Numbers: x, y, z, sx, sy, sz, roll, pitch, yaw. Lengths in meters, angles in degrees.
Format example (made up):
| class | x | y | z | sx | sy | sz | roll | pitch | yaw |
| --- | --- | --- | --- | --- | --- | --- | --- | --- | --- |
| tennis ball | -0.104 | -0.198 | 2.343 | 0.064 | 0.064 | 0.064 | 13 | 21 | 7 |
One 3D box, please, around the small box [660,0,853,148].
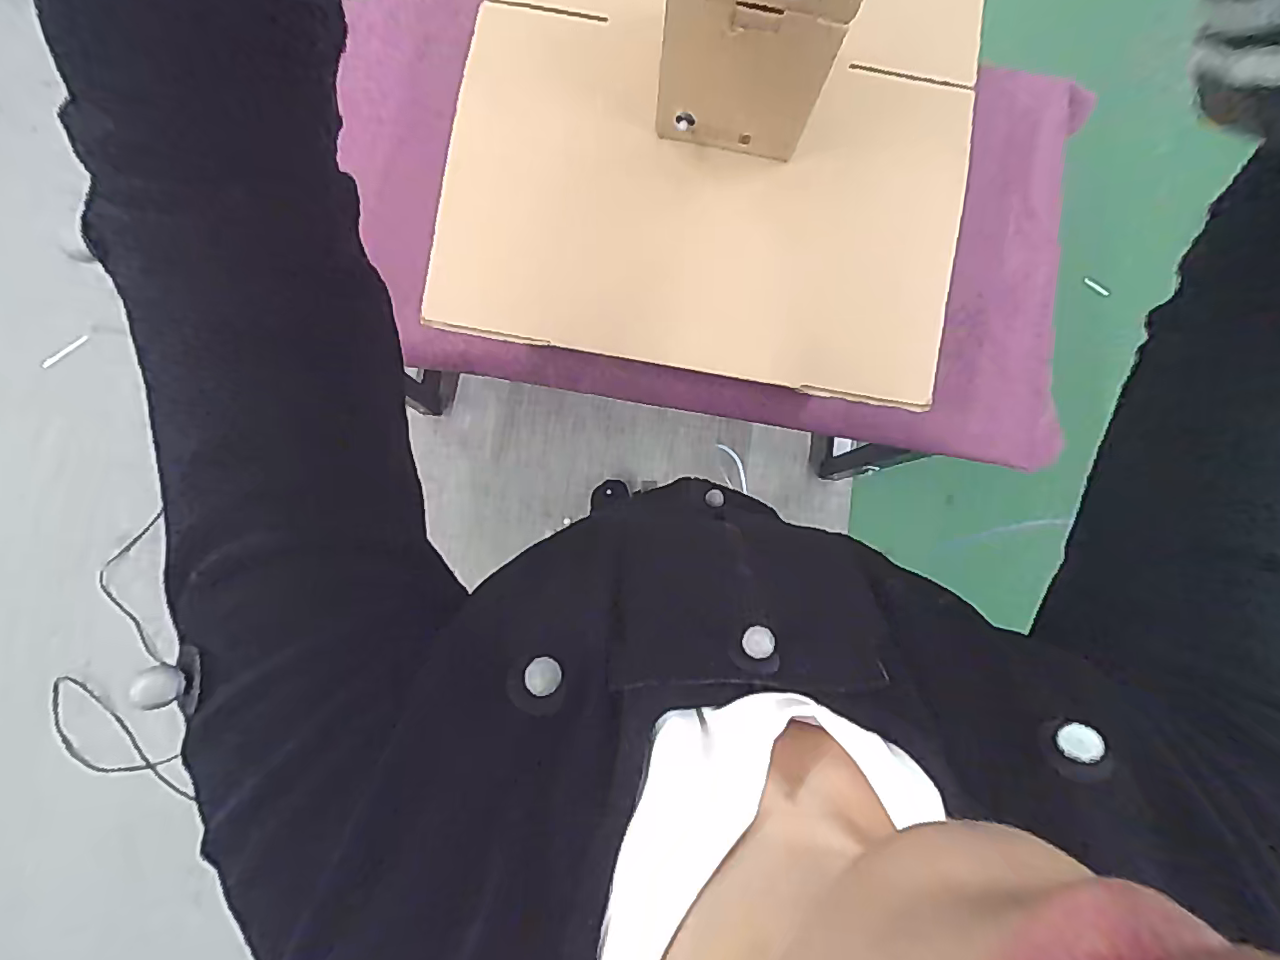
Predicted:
| class | x | y | z | sx | sy | sz | roll | pitch | yaw |
| --- | --- | --- | --- | --- | --- | --- | --- | --- | --- |
| small box | 0.113 | -0.485 | 0.561 | 0.168 | 0.176 | 0.179 | 7 | 84 | -2 |
